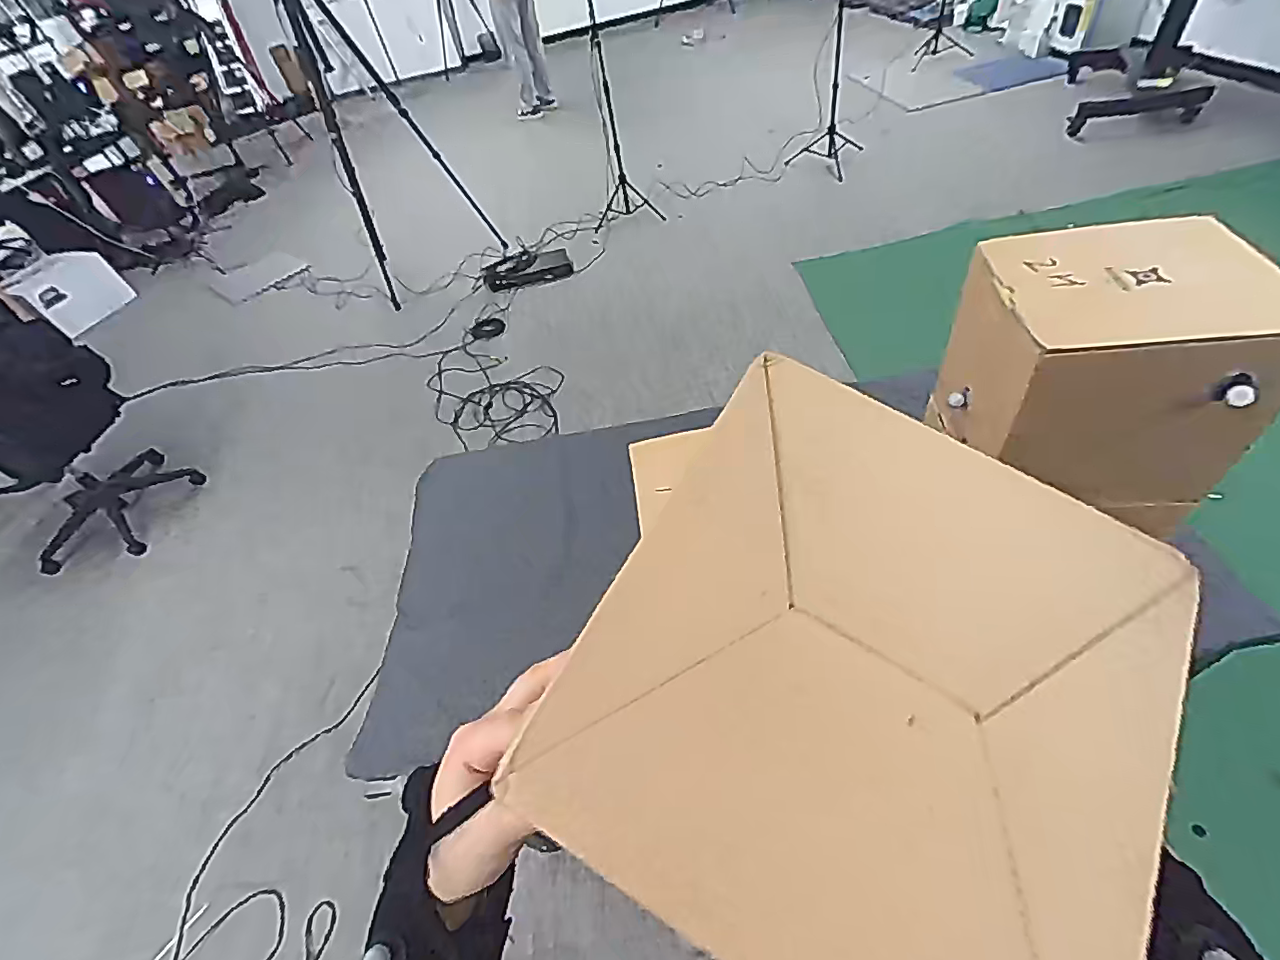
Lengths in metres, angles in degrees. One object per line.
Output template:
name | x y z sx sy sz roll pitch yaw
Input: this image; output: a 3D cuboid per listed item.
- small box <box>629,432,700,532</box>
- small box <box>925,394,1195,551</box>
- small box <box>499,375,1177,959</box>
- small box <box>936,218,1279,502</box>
small box | 0.092 0.059 0.614 0.179 0.176 0.168 -11 47 4
small box | 0.407 0.018 0.580 0.179 0.176 0.168 -3 48 12
small box | 0.065 0.090 0.234 0.168 0.176 0.179 30 69 11
small box | 0.380 -0.093 0.461 0.179 0.176 0.168 -2 48 13
